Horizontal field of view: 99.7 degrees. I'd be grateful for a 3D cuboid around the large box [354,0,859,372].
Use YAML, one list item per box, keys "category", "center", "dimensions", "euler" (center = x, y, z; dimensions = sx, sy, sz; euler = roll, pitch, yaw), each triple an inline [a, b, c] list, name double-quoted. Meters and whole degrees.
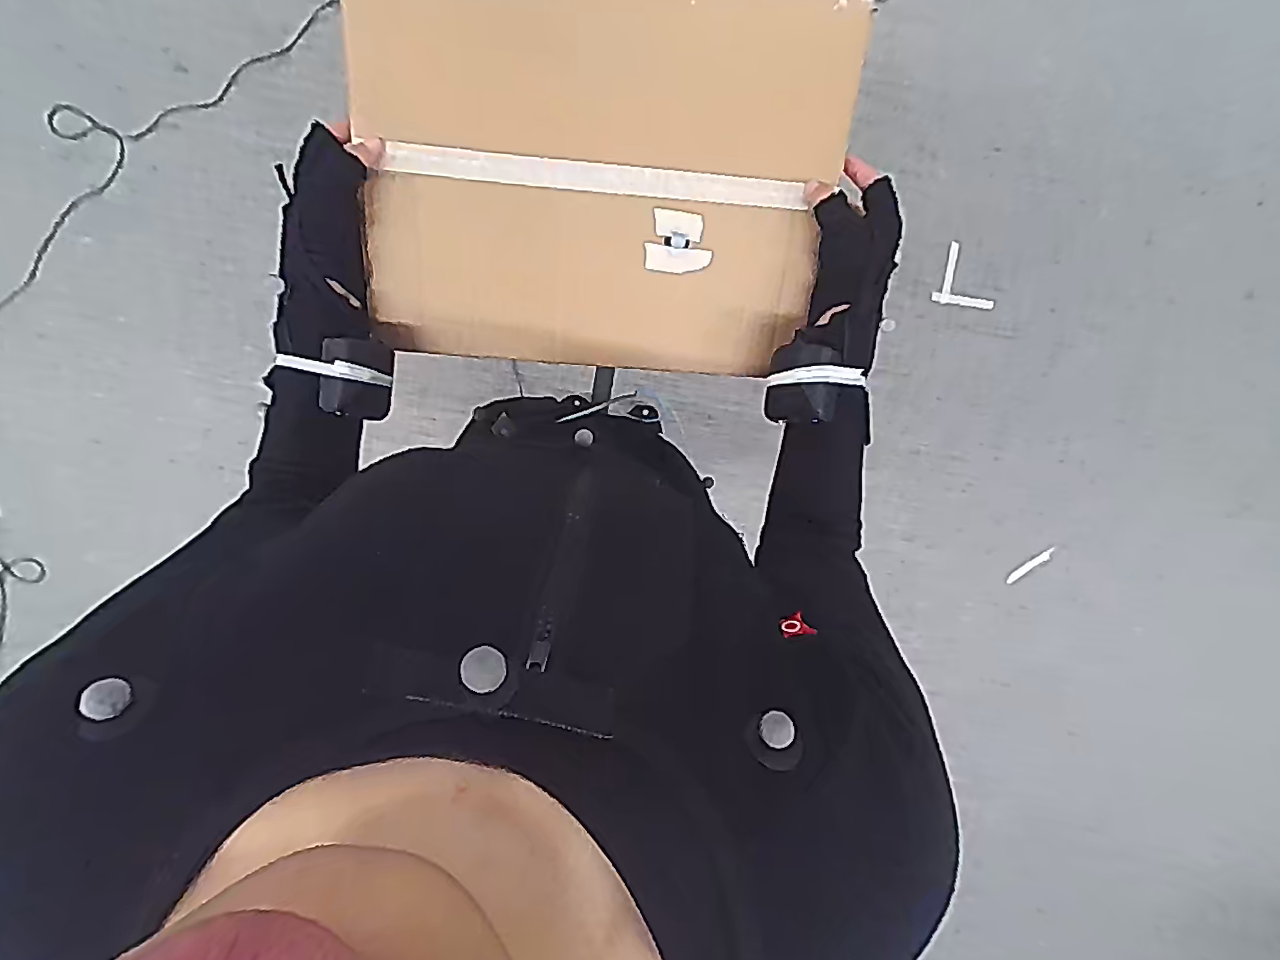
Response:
- category: "large box"
  center: [-0.040, -0.306, 0.608]
  dimensions: [0.408, 0.320, 0.320]
  euler: [2, 111, -5]
